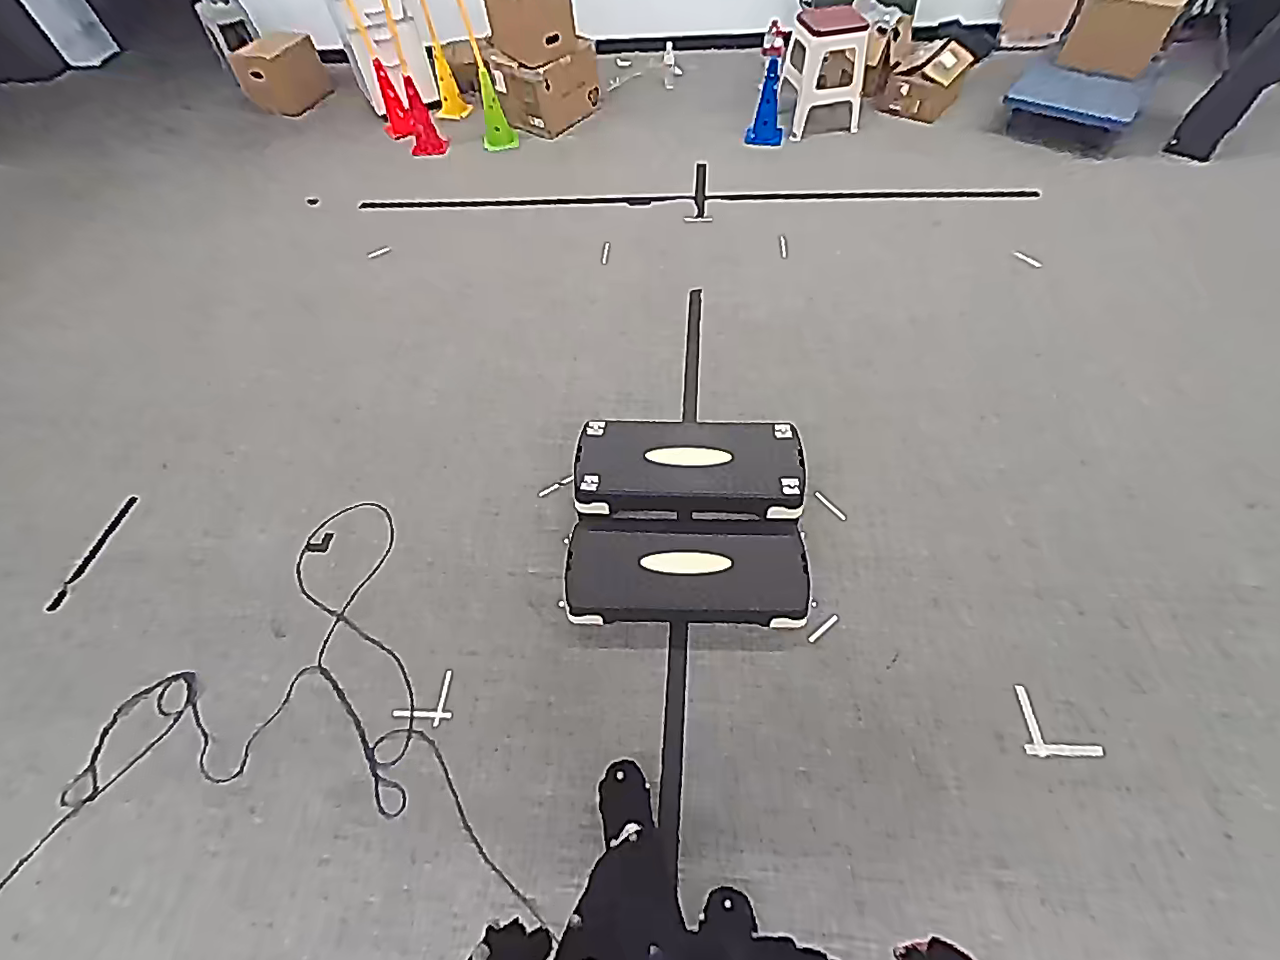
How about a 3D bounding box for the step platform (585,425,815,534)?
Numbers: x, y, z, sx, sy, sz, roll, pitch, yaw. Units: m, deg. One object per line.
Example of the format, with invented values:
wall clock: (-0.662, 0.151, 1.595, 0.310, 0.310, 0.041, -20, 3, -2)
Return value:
step platform: (0.175, -0.008, 1.648, 0.684, 0.204, 0.286, 1, 56, 3)
